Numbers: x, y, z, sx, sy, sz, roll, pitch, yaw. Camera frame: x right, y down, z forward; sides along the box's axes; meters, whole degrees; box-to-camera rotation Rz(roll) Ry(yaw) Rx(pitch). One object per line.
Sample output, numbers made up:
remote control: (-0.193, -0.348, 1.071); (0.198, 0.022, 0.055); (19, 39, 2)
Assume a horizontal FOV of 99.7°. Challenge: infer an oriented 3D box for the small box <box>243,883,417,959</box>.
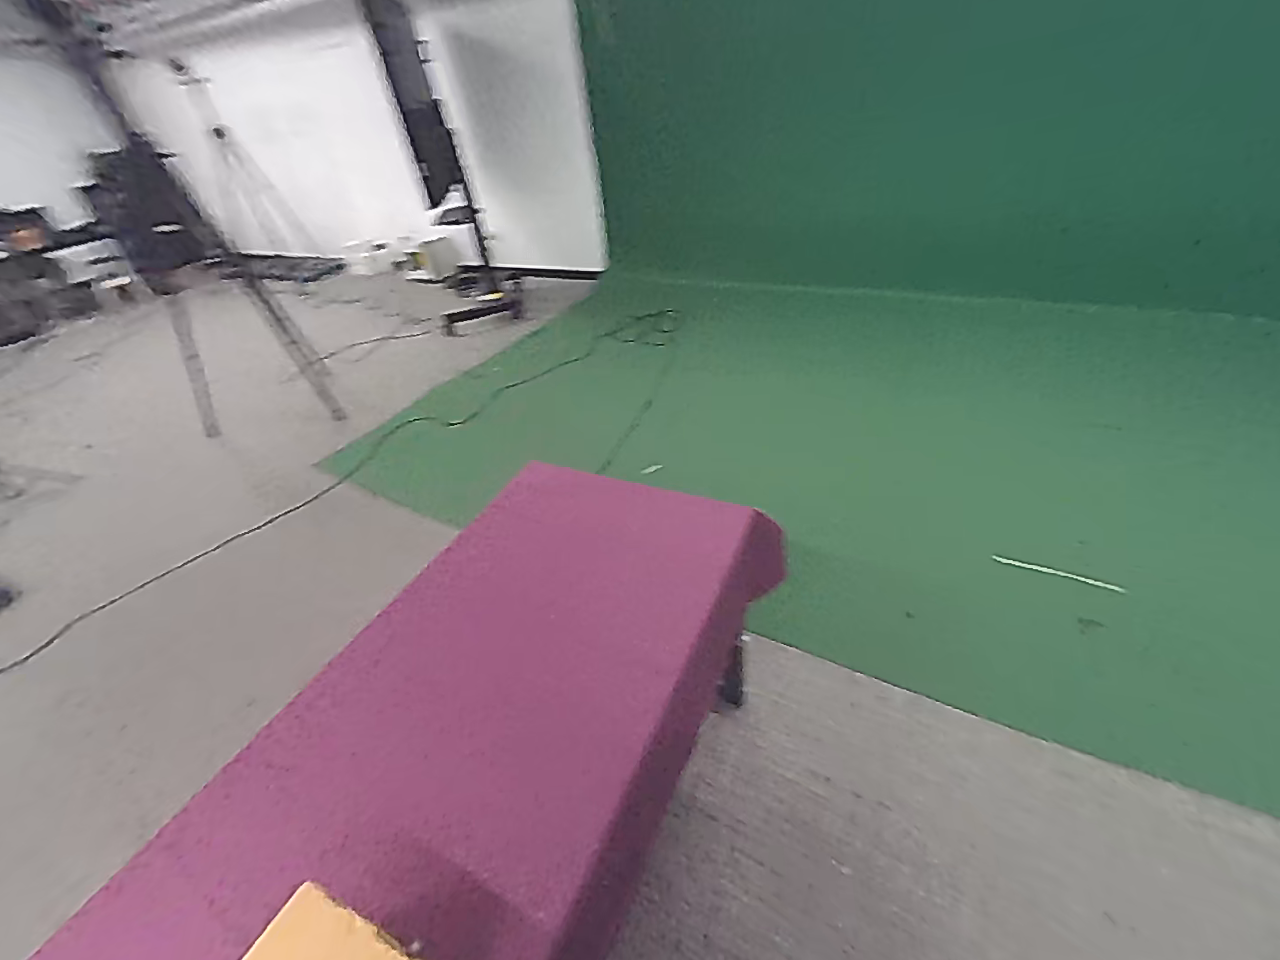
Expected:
small box: (-0.307, 0.551, 0.524); (0.168, 0.176, 0.179); (12, 41, 24)
